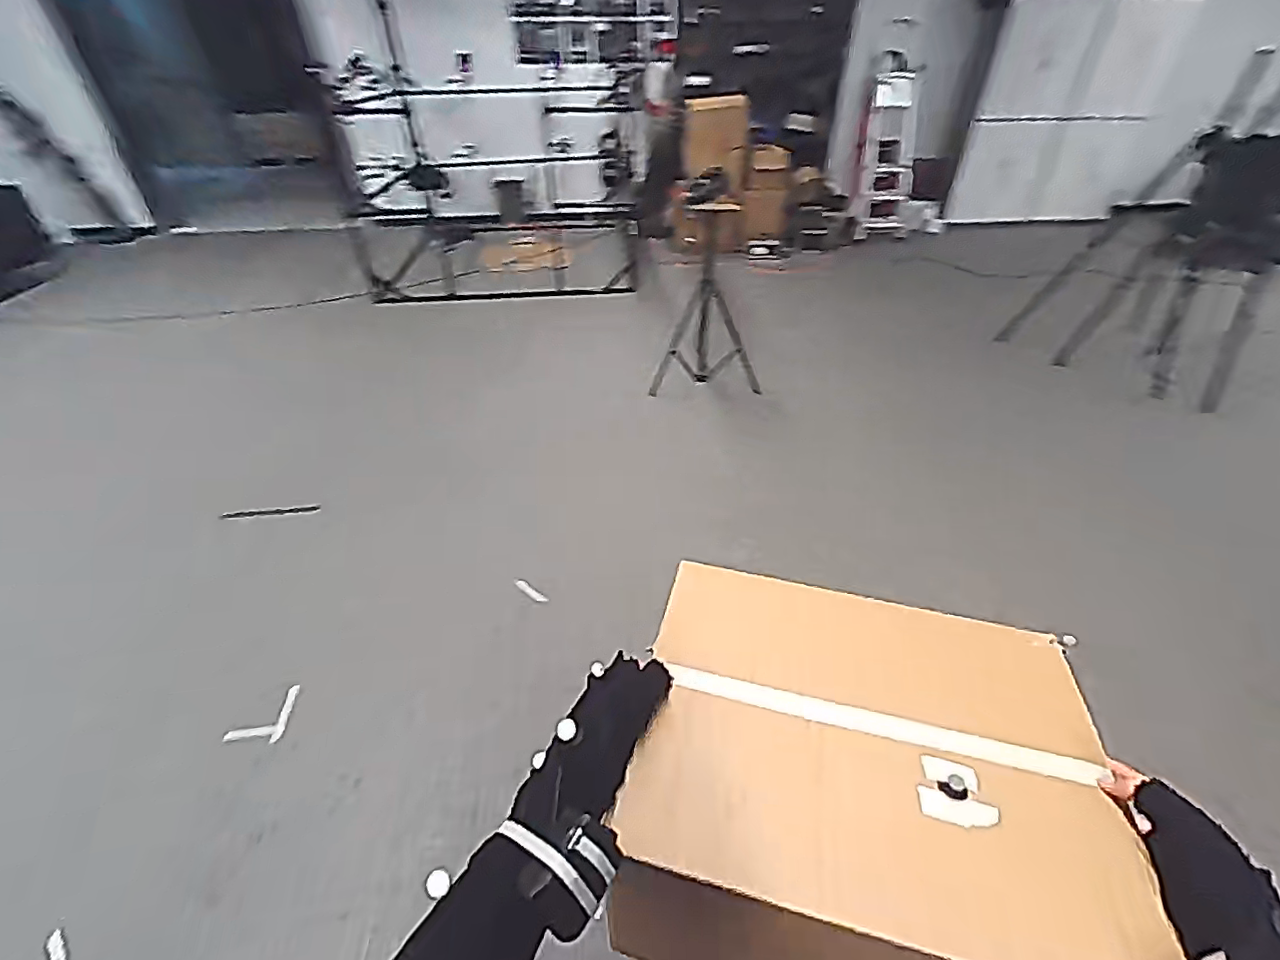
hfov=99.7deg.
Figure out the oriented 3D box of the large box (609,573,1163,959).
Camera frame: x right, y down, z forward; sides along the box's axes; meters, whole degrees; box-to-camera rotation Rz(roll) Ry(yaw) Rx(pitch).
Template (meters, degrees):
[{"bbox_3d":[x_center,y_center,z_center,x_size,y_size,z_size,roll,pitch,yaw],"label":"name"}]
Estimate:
[{"bbox_3d":[0.197,0.348,0.598,0.408,0.320,0.320,9,38,11],"label":"large box"}]
